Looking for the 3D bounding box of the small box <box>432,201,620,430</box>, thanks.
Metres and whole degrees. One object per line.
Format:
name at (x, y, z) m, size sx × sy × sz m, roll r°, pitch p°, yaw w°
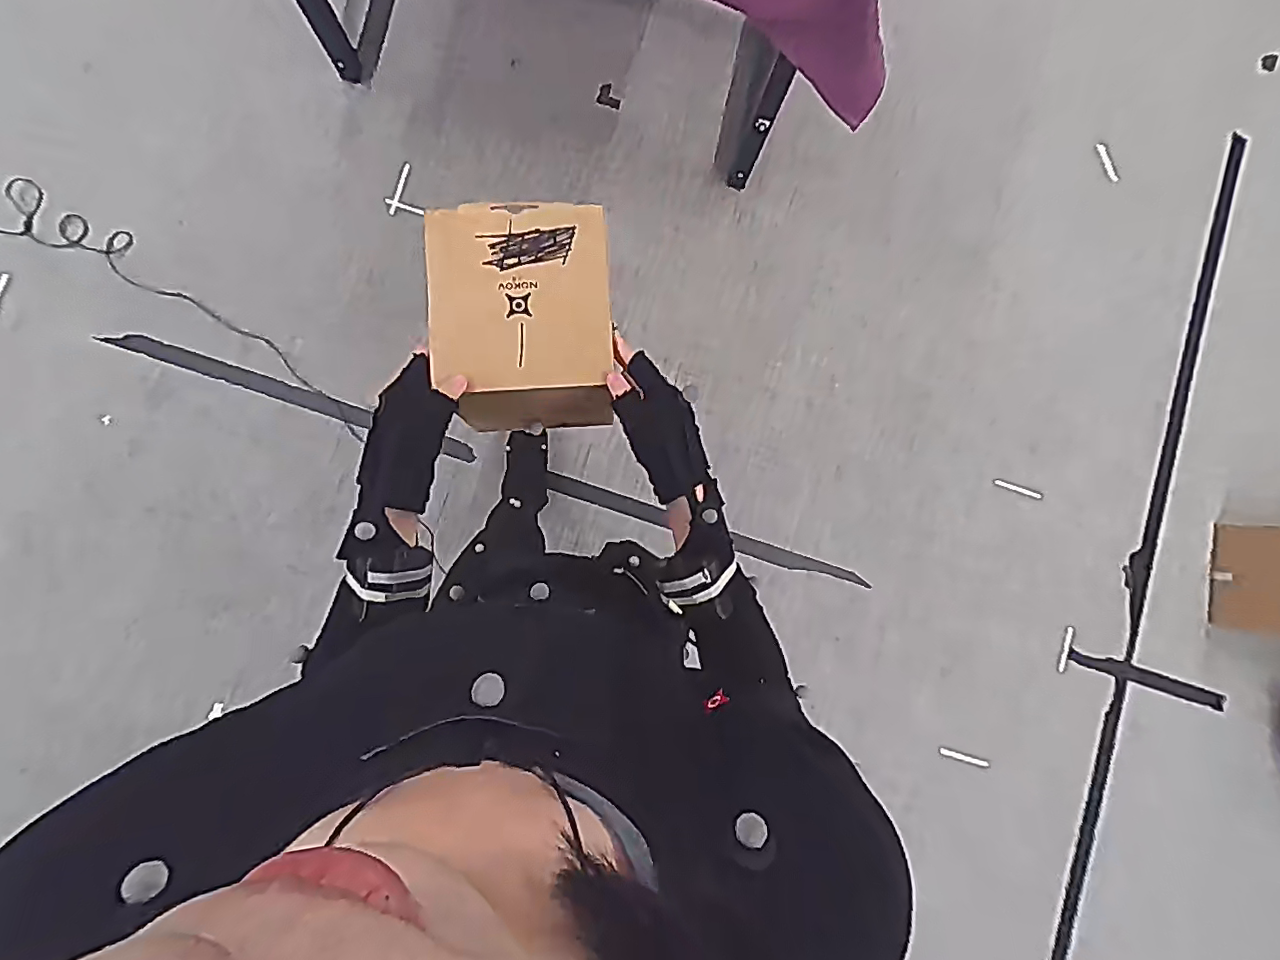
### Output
small box at (-0.109, -0.160, 0.568) m, size 0.168 × 0.176 × 0.179 m, roll -4°, pitch 82°, yaw -3°
